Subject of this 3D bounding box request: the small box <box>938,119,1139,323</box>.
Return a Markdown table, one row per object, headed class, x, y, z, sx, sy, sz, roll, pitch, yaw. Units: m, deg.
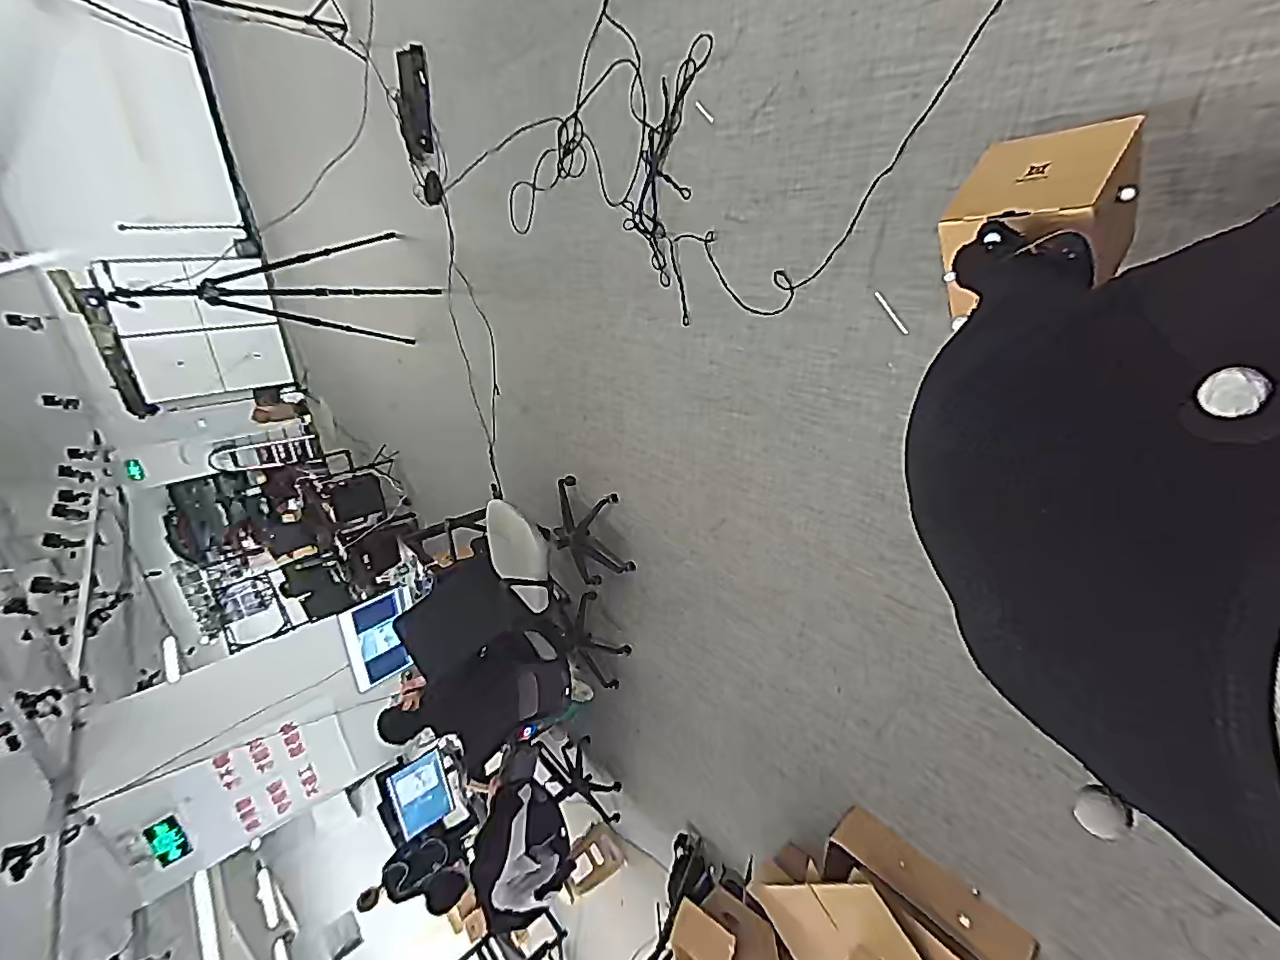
| class | x | y | z | sx | sy | sz | roll | pitch | yaw |
| --- | --- | --- | --- | --- | --- | --- | --- | --- | --- |
| small box | 0.533 | -0.338 | 0.732 | 0.168 | 0.179 | 0.176 | 20 | 157 | 47 |
